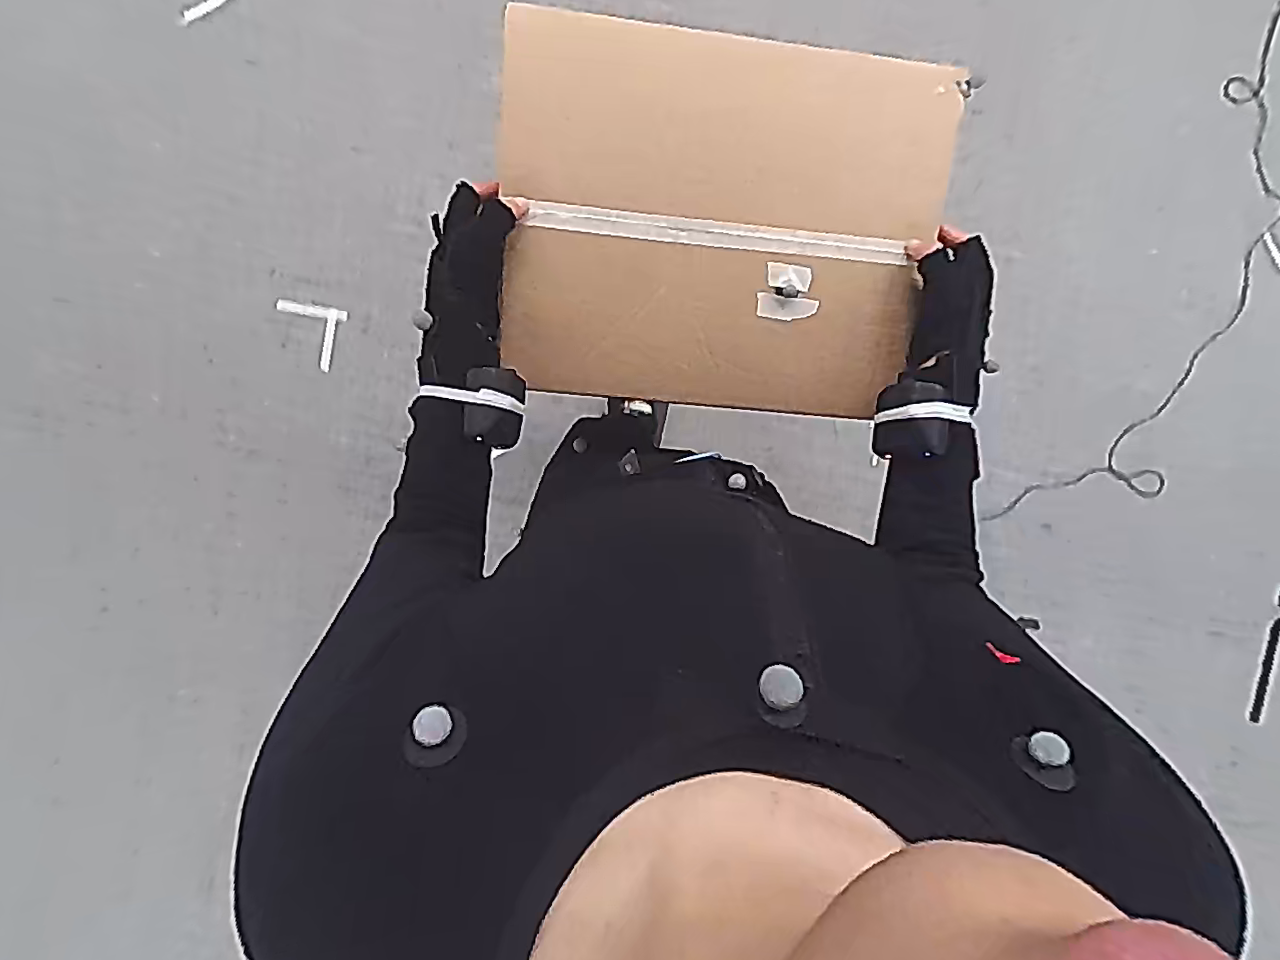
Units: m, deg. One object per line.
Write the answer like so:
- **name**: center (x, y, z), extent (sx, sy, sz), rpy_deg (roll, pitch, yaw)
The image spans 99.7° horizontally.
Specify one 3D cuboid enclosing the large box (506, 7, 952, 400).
- **large box**: center (0.065, -0.278, 0.653), extent (0.408, 0.320, 0.320), rpy_deg (4, 105, -5)
